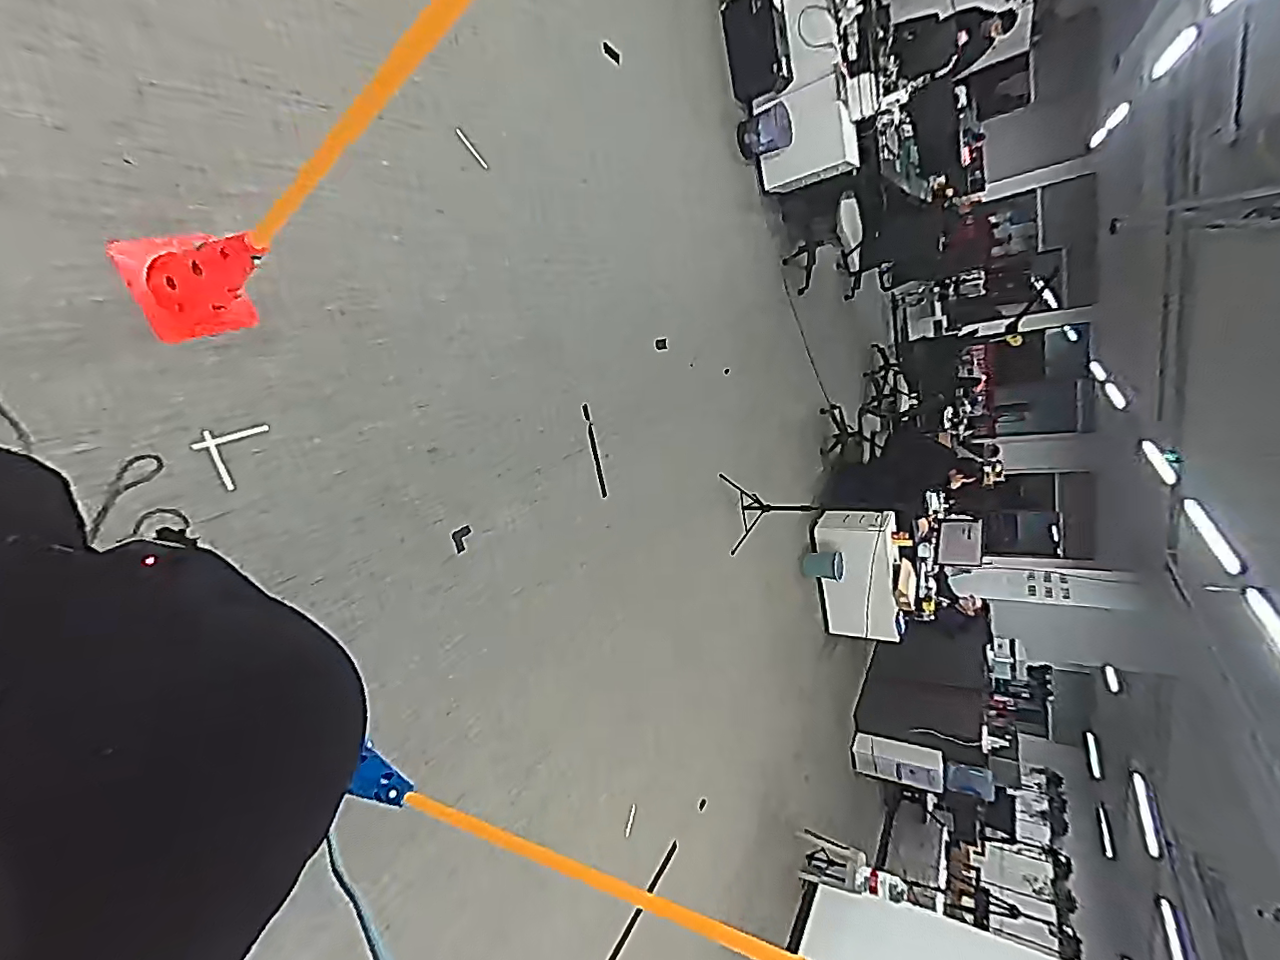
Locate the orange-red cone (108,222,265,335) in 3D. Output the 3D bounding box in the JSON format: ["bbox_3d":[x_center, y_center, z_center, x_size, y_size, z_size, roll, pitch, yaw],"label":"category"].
[{"bbox_3d":[-0.810,-0.418,1.032,0.199,0.360,0.198,-38,119,-48],"label":"orange-red cone"}]
